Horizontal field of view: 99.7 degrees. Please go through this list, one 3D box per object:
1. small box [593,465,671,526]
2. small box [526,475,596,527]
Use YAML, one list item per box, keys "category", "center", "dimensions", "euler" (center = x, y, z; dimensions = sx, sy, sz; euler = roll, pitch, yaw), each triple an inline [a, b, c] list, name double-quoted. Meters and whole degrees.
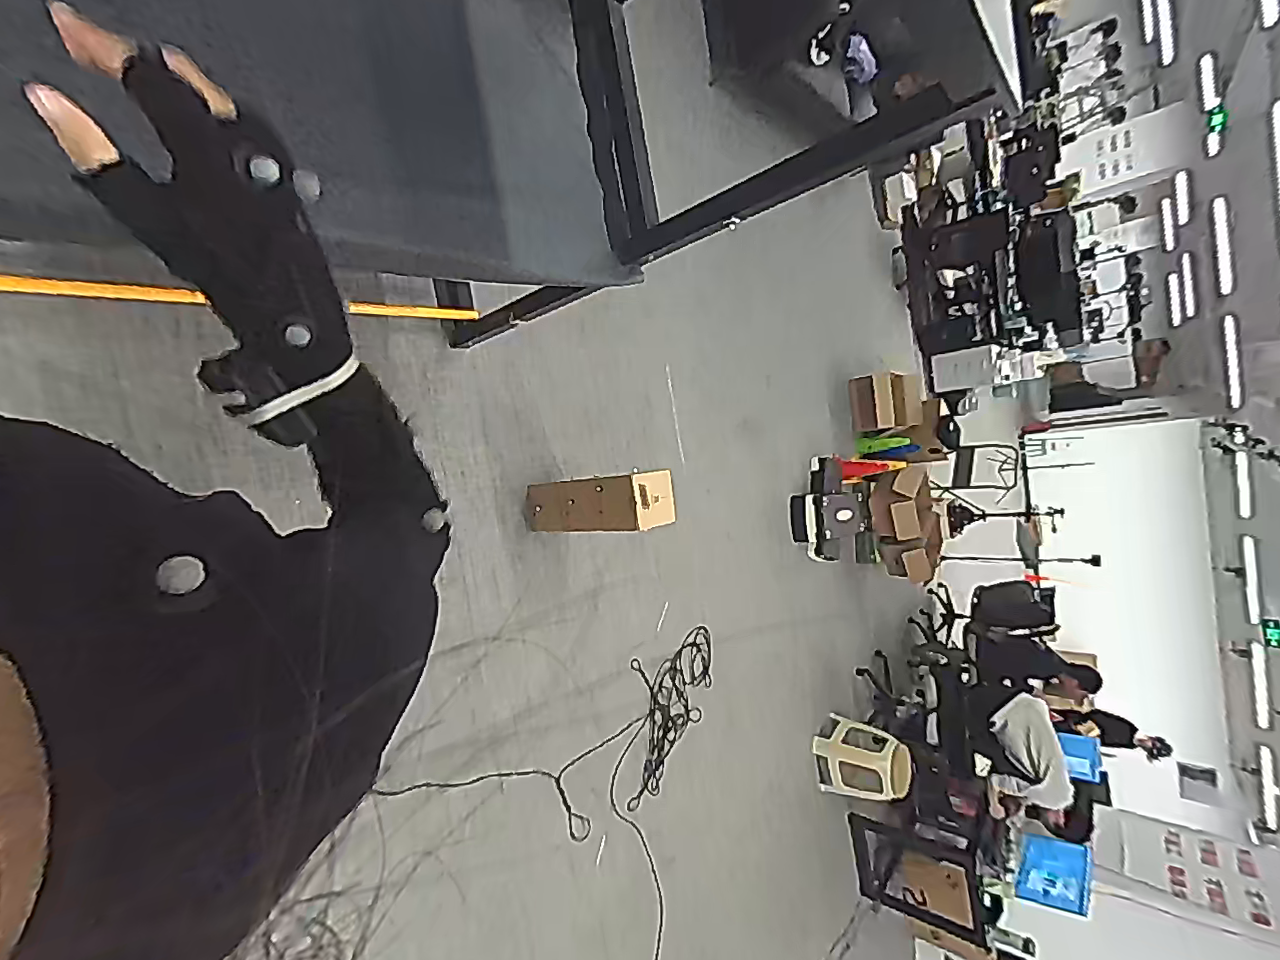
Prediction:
- category: "small box"
  center: [-0.031, 0.048, 1.661]
  dimensions: [0.179, 0.176, 0.168]
  euler: [-9, 94, -48]
- category: "small box"
  center: [-0.273, 0.071, 1.878]
  dimensions: [0.179, 0.176, 0.168]
  euler: [-6, 90, -48]
